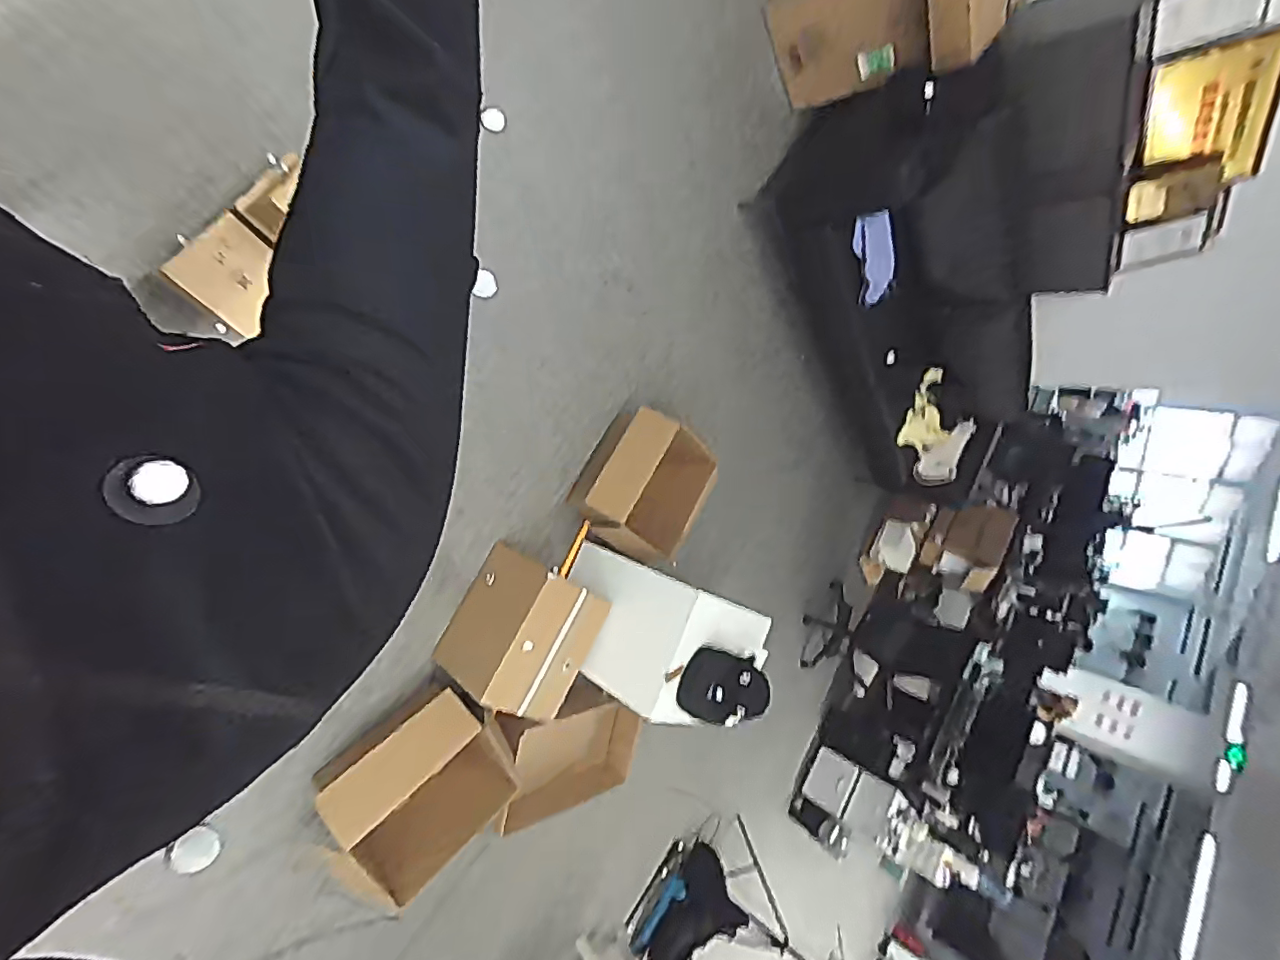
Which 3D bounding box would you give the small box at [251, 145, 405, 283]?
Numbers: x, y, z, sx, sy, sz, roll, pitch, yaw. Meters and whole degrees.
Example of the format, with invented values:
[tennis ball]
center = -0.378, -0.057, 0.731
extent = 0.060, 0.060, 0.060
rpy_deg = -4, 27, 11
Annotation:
[small box]
center = -0.608, -0.509, 1.056
extent = 0.168, 0.176, 0.179
rpy_deg = -58, 136, -17
